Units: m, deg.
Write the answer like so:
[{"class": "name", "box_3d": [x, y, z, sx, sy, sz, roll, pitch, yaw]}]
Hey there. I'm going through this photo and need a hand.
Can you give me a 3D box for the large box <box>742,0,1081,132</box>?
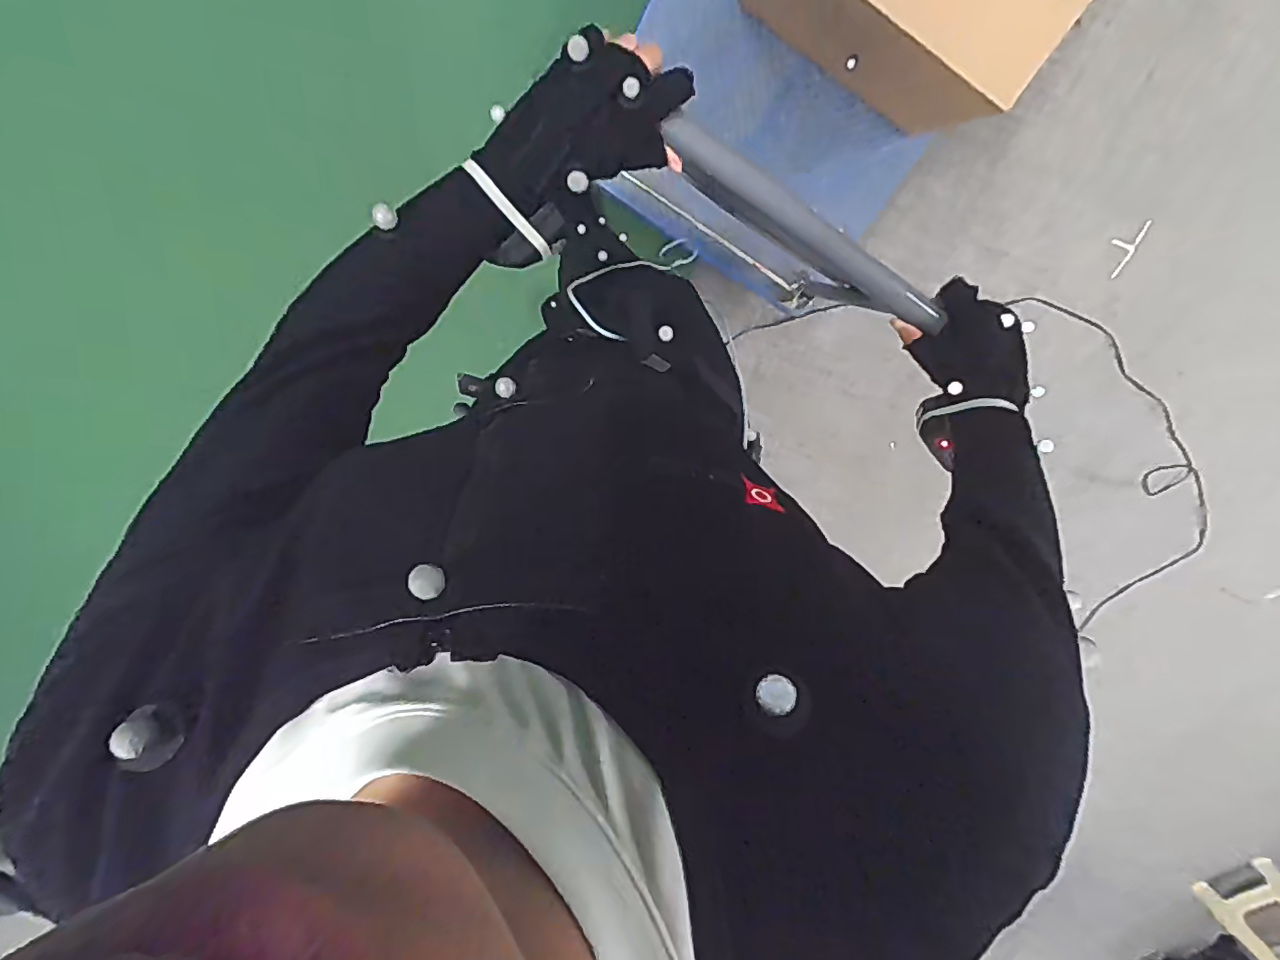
[{"class": "large box", "box_3d": [0.417, -0.792, 0.798, 0.408, 0.320, 0.320, 27, 114, -12]}]
